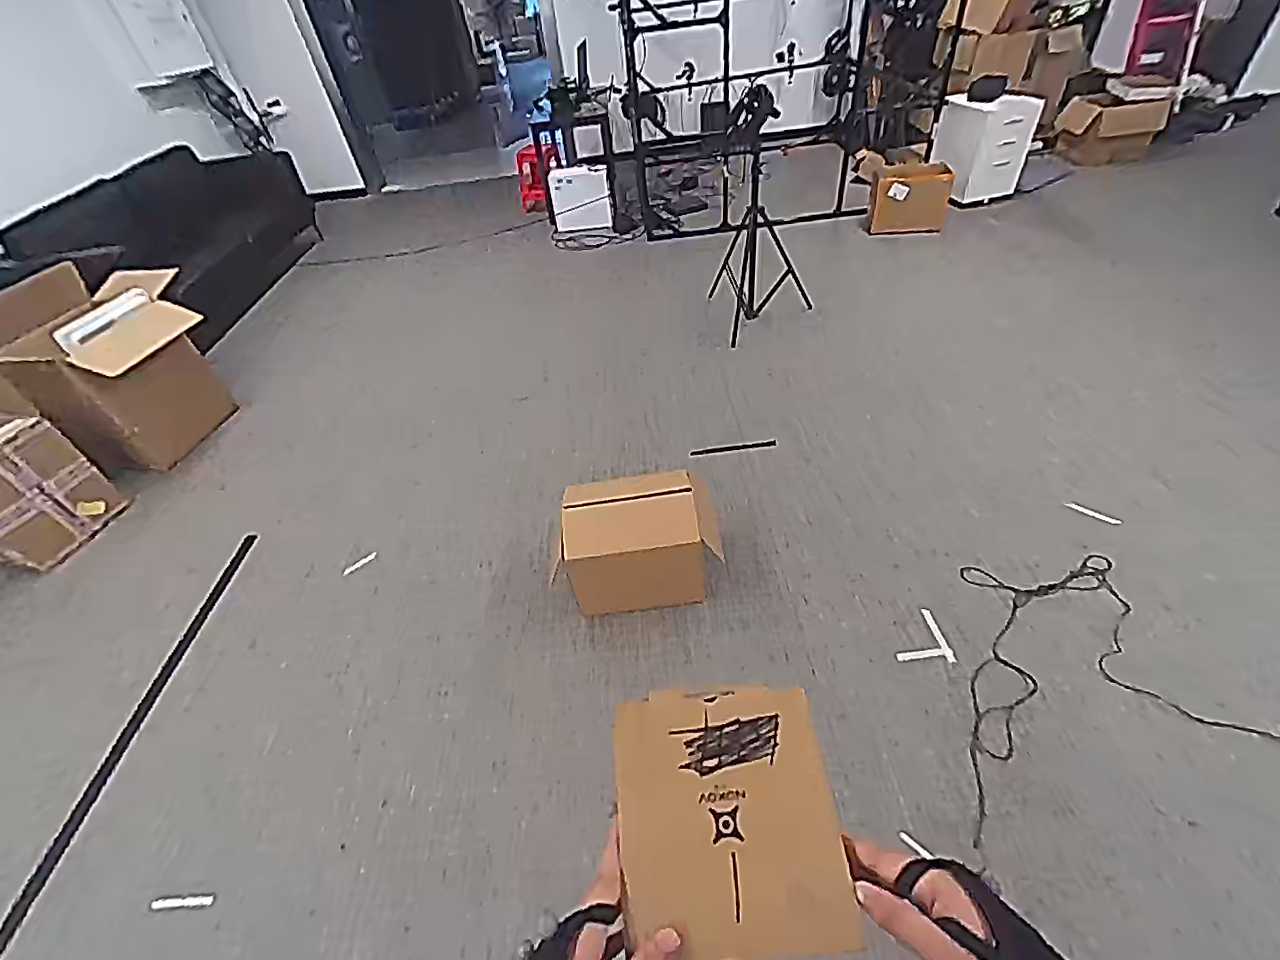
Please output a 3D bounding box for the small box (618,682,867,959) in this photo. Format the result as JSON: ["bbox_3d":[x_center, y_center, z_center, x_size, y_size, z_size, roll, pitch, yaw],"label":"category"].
[{"bbox_3d":[0.067,0.294,0.471,0.168,0.176,0.179,-4,53,-1],"label":"small box"}]
